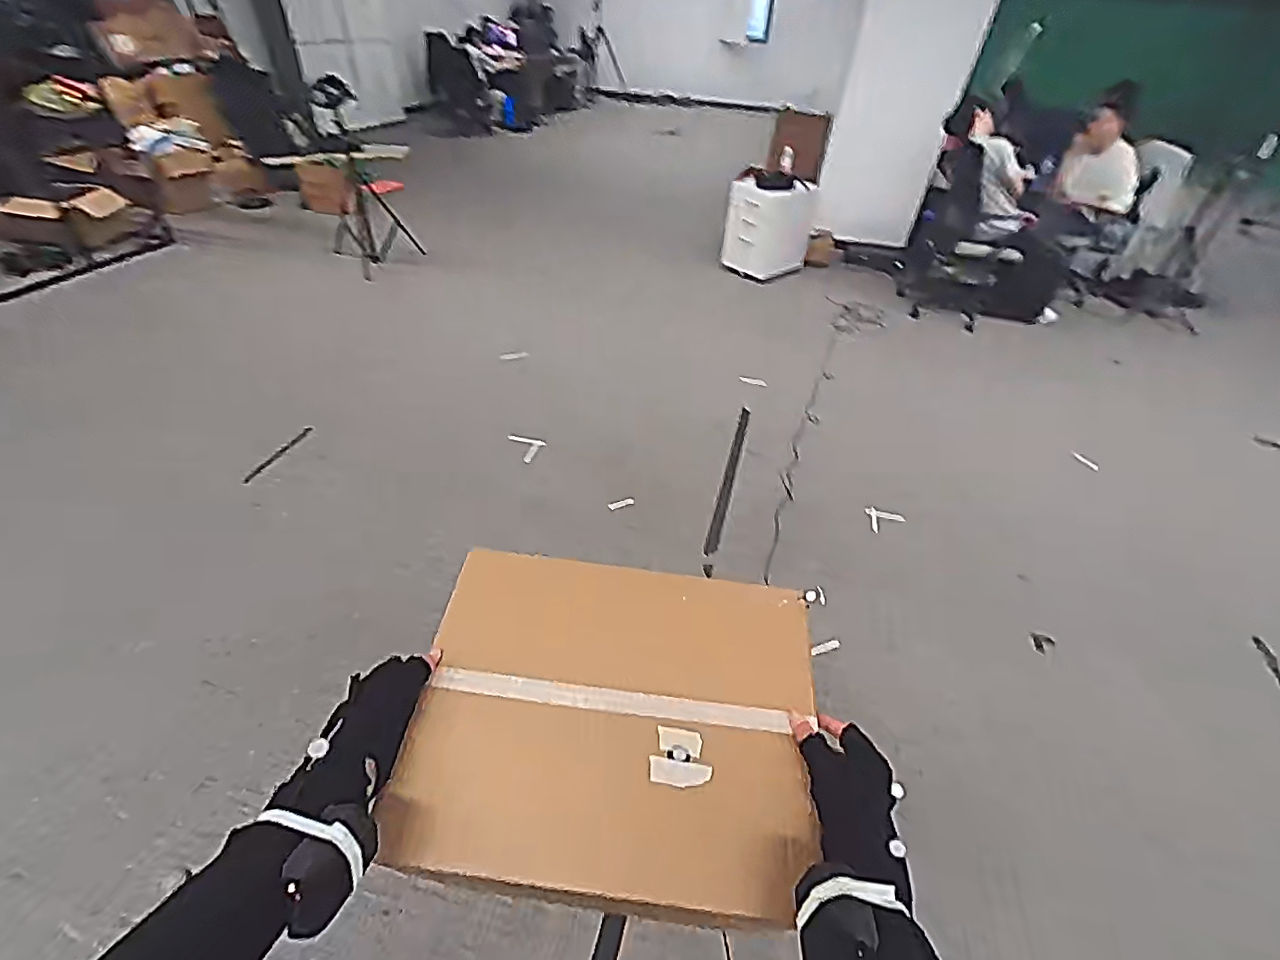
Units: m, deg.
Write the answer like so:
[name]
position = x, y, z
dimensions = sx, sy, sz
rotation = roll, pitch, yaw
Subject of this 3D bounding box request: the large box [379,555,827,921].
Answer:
[large box]
position = -0.029, 0.325, 0.676
dimensions = 0.408, 0.320, 0.320
rotation = 8, 50, 2
